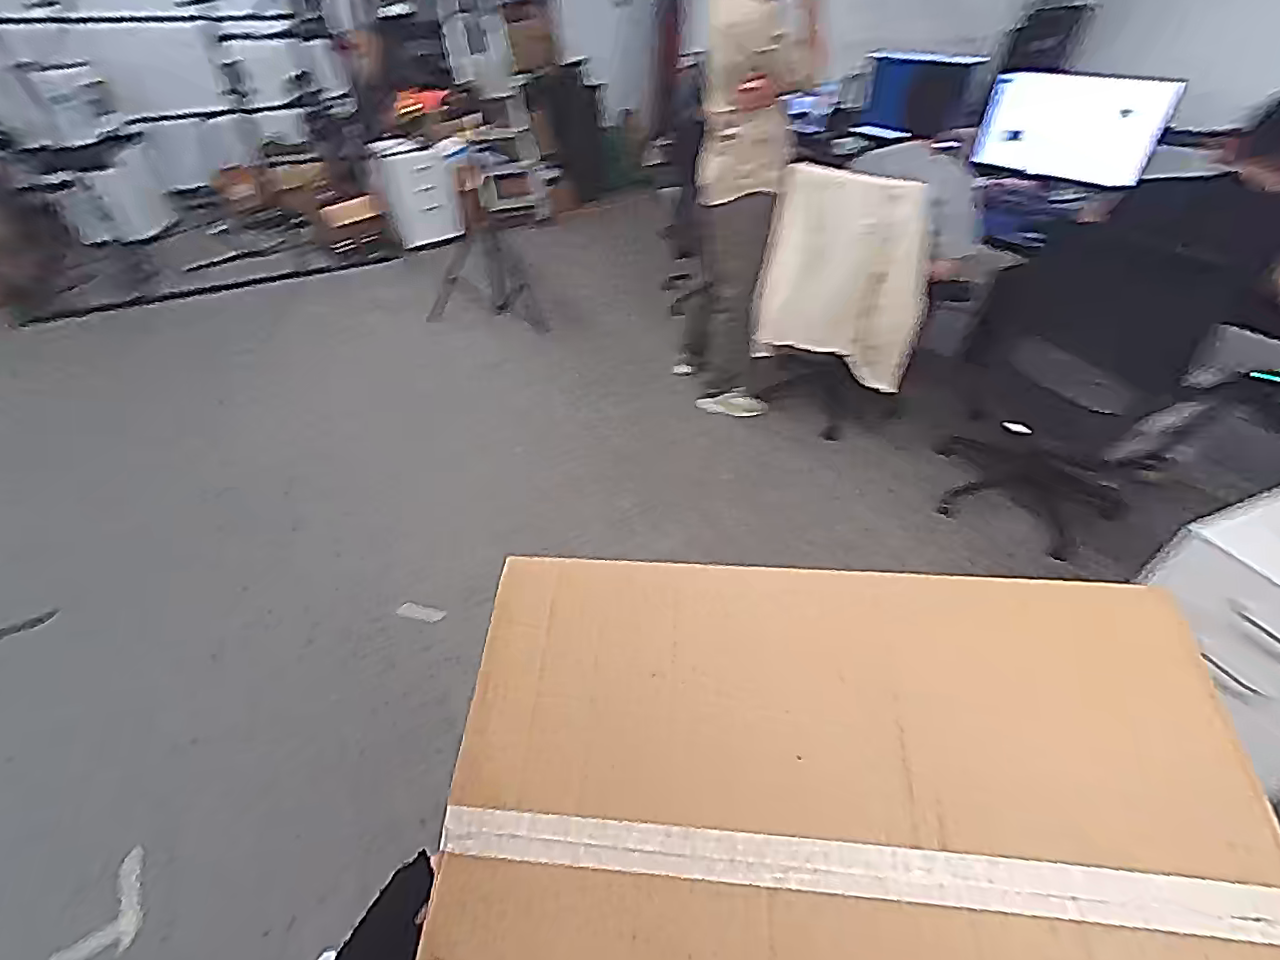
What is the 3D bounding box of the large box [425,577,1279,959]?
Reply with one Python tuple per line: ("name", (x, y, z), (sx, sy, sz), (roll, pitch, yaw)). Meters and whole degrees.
("large box", (0.104, 0.275, 0.398), (0.408, 0.320, 0.320), (0, 59, 6))
